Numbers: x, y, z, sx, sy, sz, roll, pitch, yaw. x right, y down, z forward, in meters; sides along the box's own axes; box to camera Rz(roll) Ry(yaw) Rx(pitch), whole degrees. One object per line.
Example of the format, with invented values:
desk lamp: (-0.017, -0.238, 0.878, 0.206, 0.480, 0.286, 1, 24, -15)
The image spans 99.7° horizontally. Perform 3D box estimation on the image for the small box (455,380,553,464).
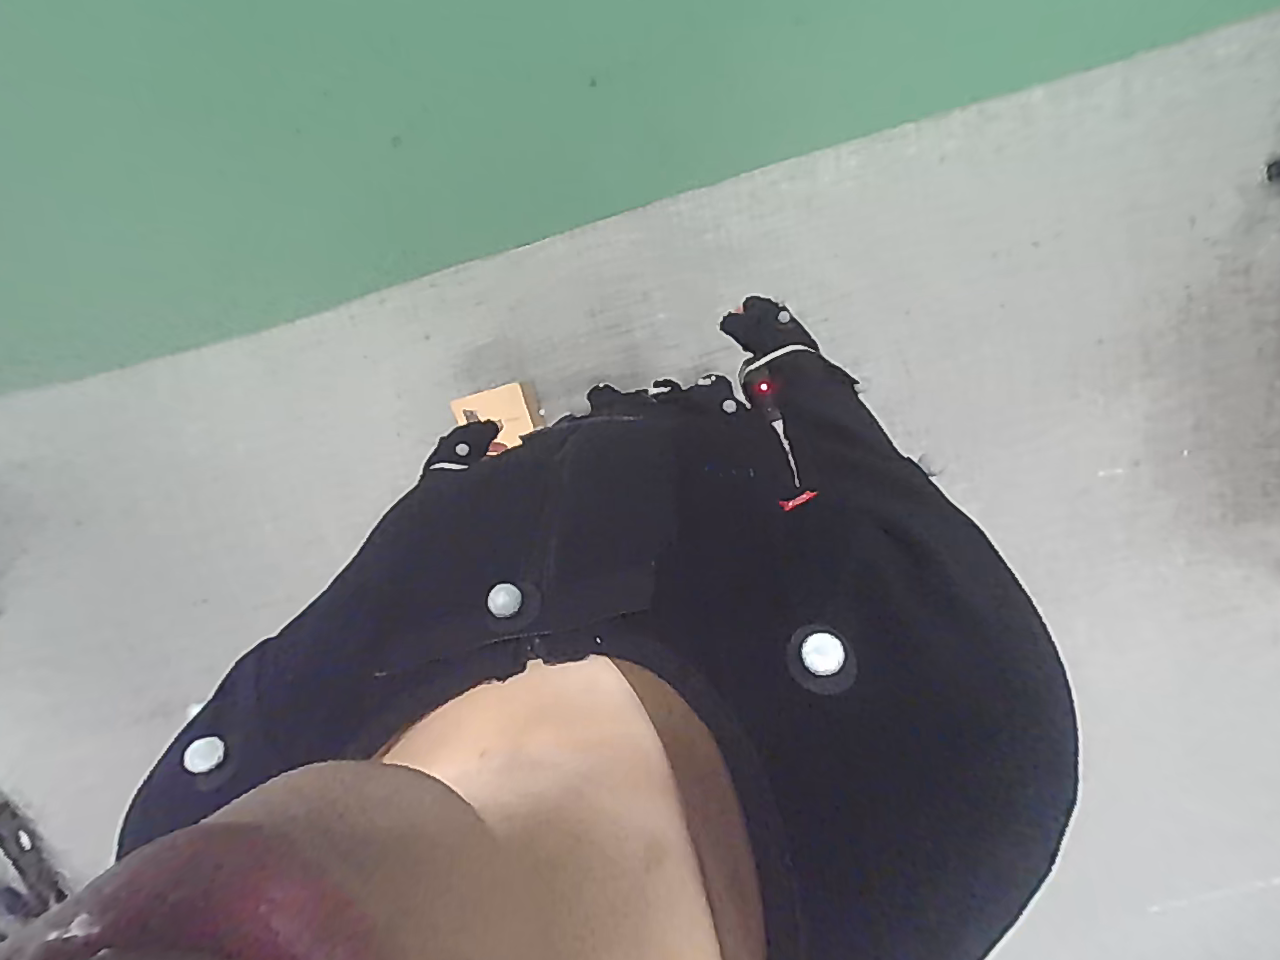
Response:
small box: (-0.336, -0.151, 1.369, 0.179, 0.176, 0.168, -17, 101, 3)
